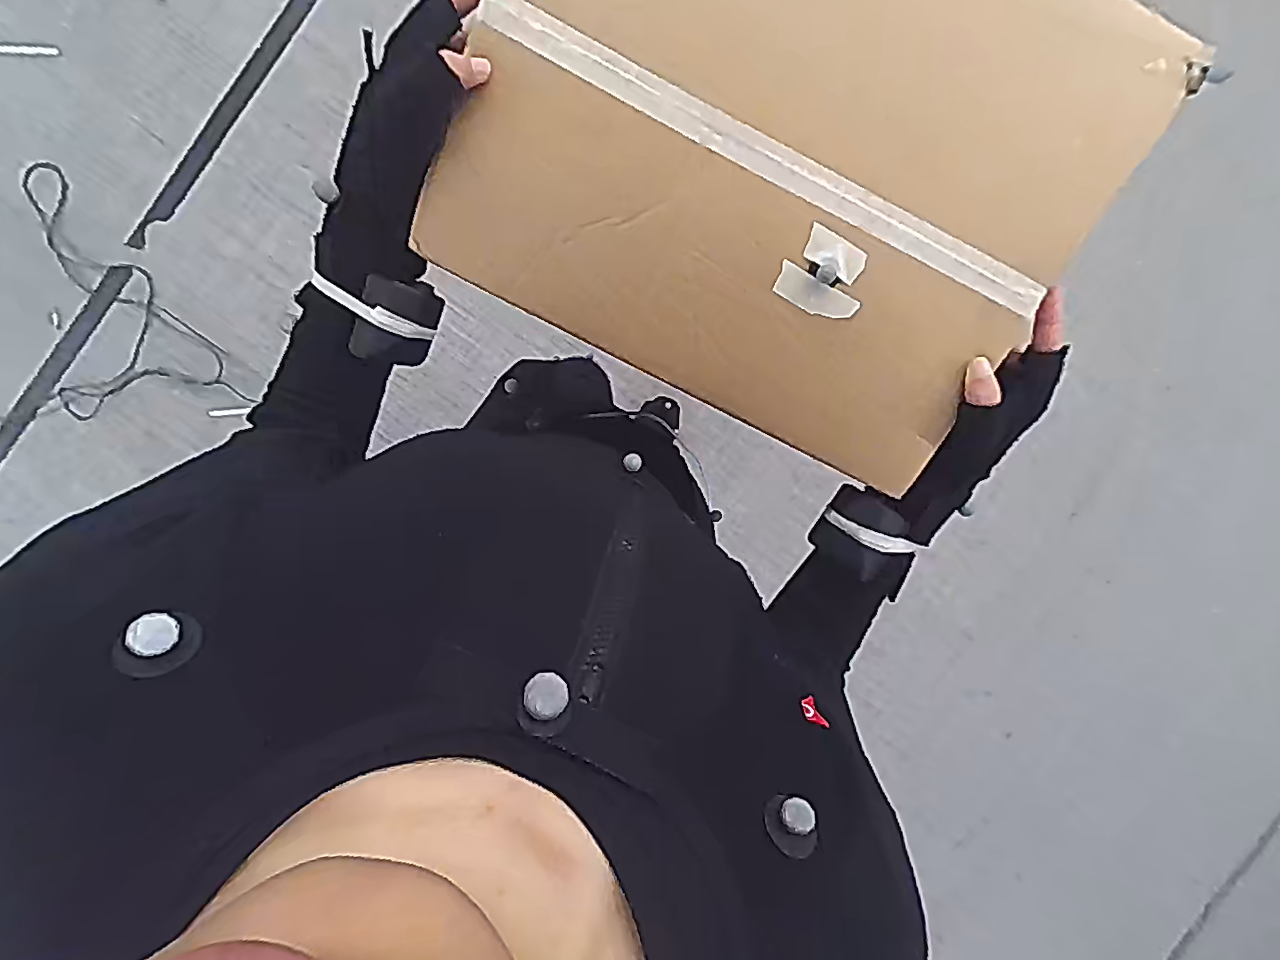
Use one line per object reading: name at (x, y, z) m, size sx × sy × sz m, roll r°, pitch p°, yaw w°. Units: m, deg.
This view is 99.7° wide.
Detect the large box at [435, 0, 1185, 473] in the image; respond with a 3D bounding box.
large box at (0.099, -0.263, 0.500) m, size 0.408 × 0.320 × 0.320 m, roll 26°, pitch 110°, yaw -5°
